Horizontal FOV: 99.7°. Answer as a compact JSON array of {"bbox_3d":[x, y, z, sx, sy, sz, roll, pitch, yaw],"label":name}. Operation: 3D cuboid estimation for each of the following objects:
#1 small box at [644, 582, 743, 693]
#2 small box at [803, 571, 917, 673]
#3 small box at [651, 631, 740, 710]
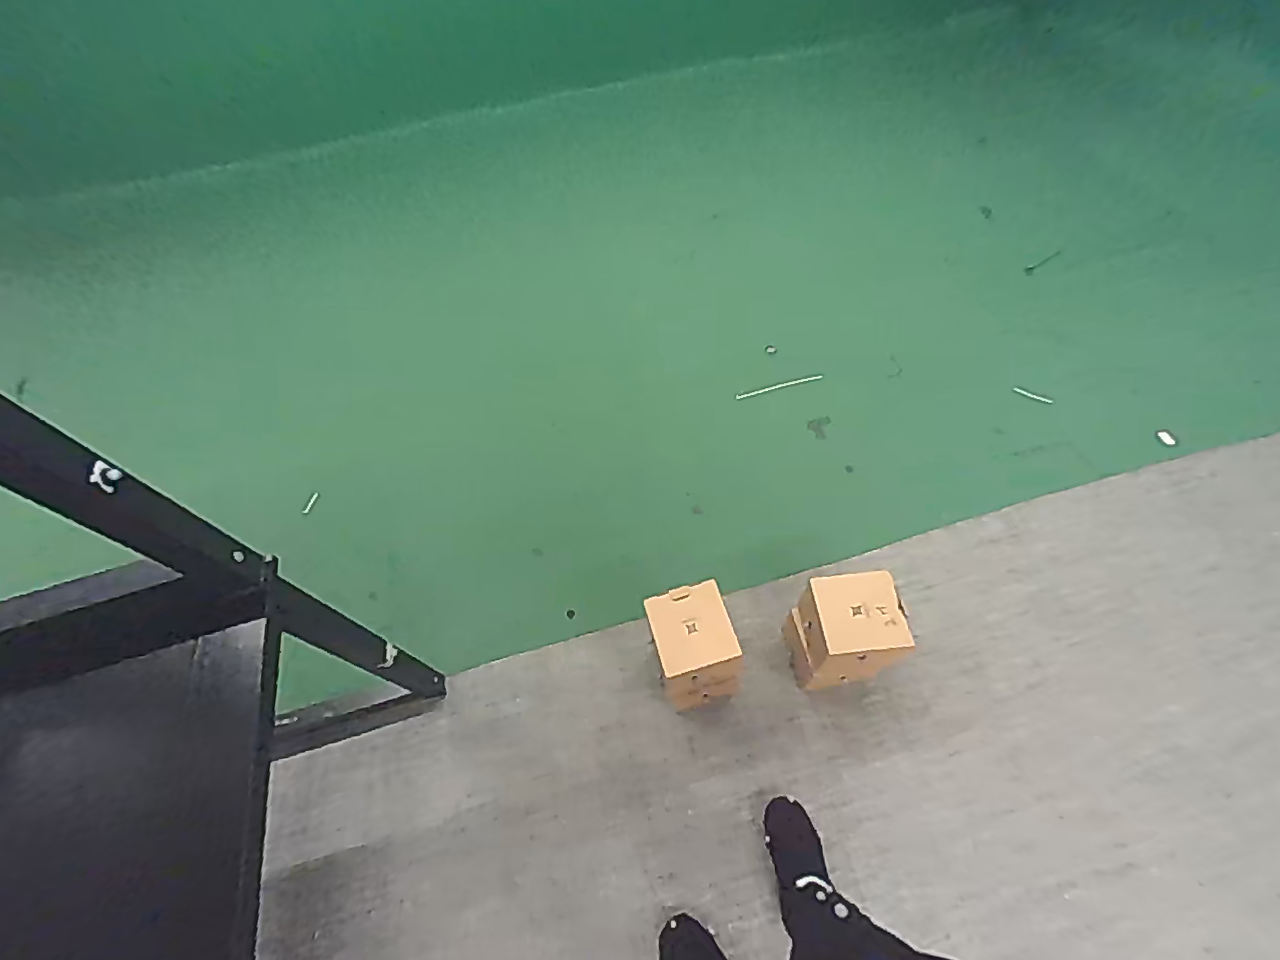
[{"bbox_3d":[0.117,0.353,1.189,0.168,0.176,0.179,-16,56,-4],"label":"small box"},{"bbox_3d":[0.464,0.314,1.177,0.179,0.176,0.168,-6,58,1],"label":"small box"},{"bbox_3d":[0.134,0.448,1.320,0.168,0.176,0.179,-17,57,-5],"label":"small box"}]
